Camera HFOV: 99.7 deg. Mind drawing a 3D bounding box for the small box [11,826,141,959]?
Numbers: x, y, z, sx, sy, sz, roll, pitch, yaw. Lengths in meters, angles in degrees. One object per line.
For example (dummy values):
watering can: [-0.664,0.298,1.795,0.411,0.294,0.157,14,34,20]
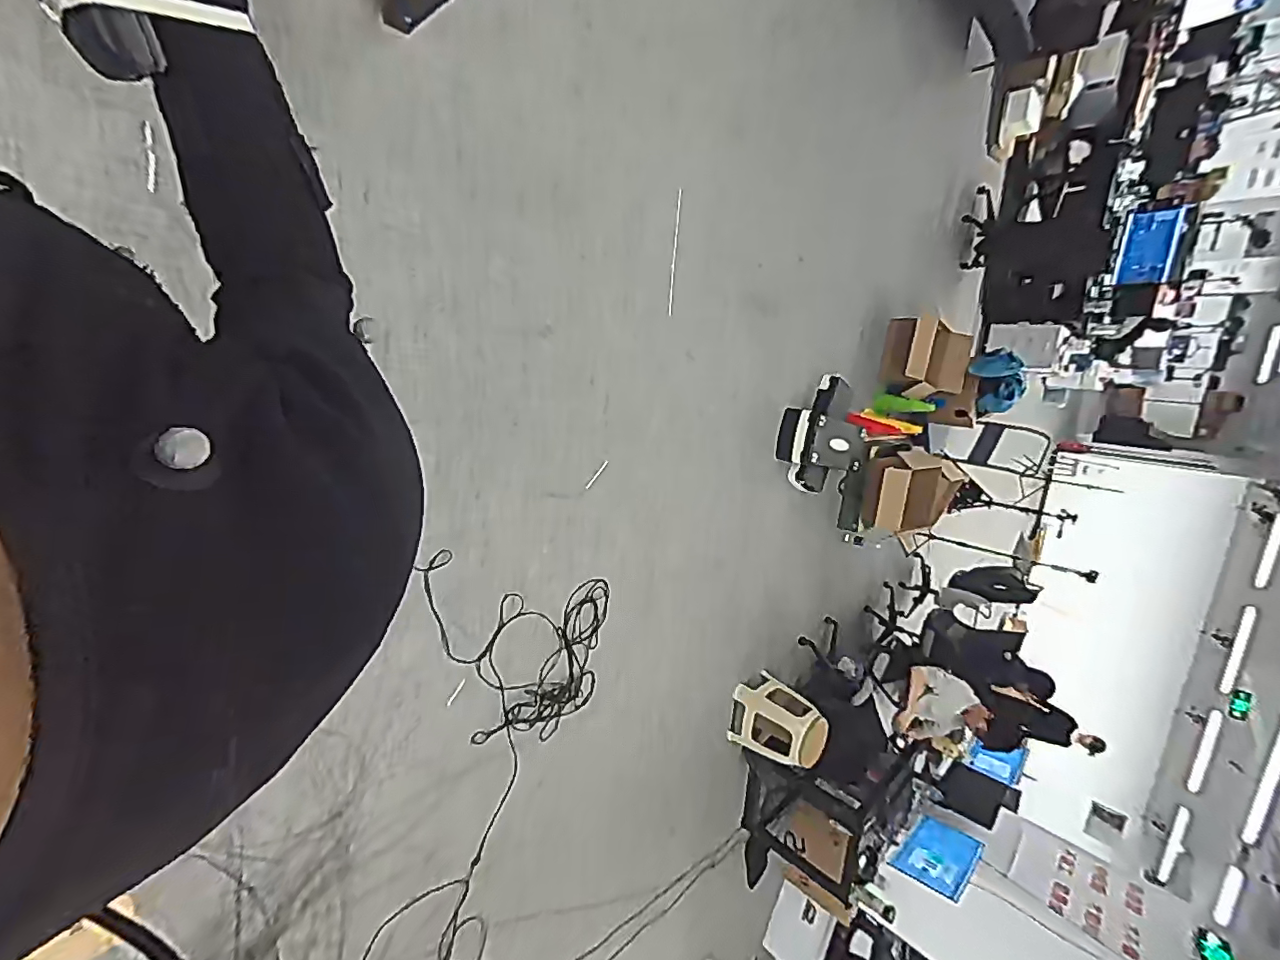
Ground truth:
small box: [-1.166,0.879,1.126,0.168,0.176,0.179,-11,107,-46]
